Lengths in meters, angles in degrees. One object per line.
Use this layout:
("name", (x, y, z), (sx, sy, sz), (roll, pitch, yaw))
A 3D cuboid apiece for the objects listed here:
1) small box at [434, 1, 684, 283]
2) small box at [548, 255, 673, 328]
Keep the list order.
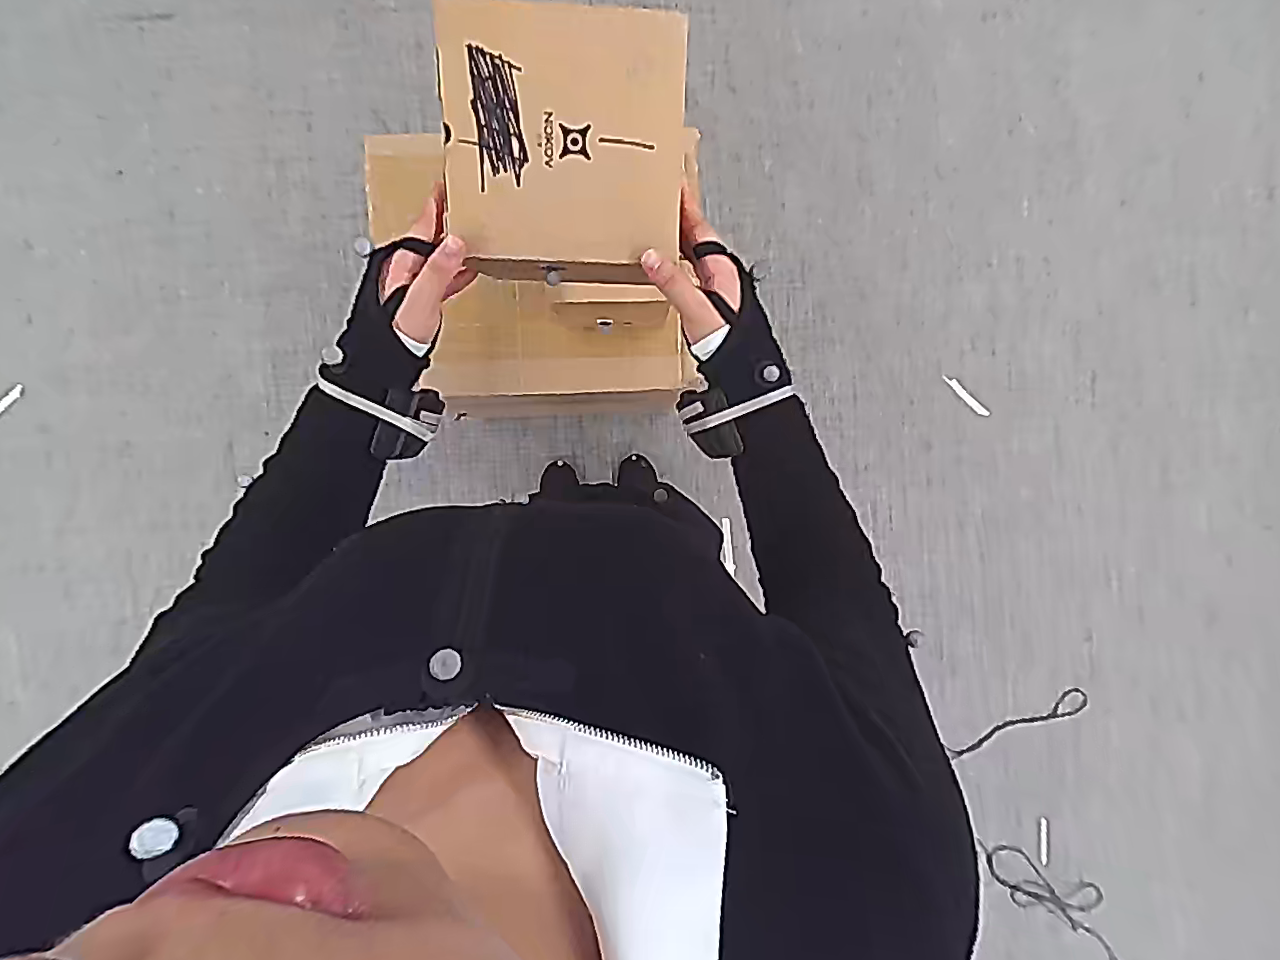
("small box", (-0.063, -0.267, 0.471), (0.179, 0.176, 0.168), (0, 105, -4))
("small box", (-0.041, -0.324, 0.776), (0.168, 0.176, 0.179), (-2, 95, 0))
